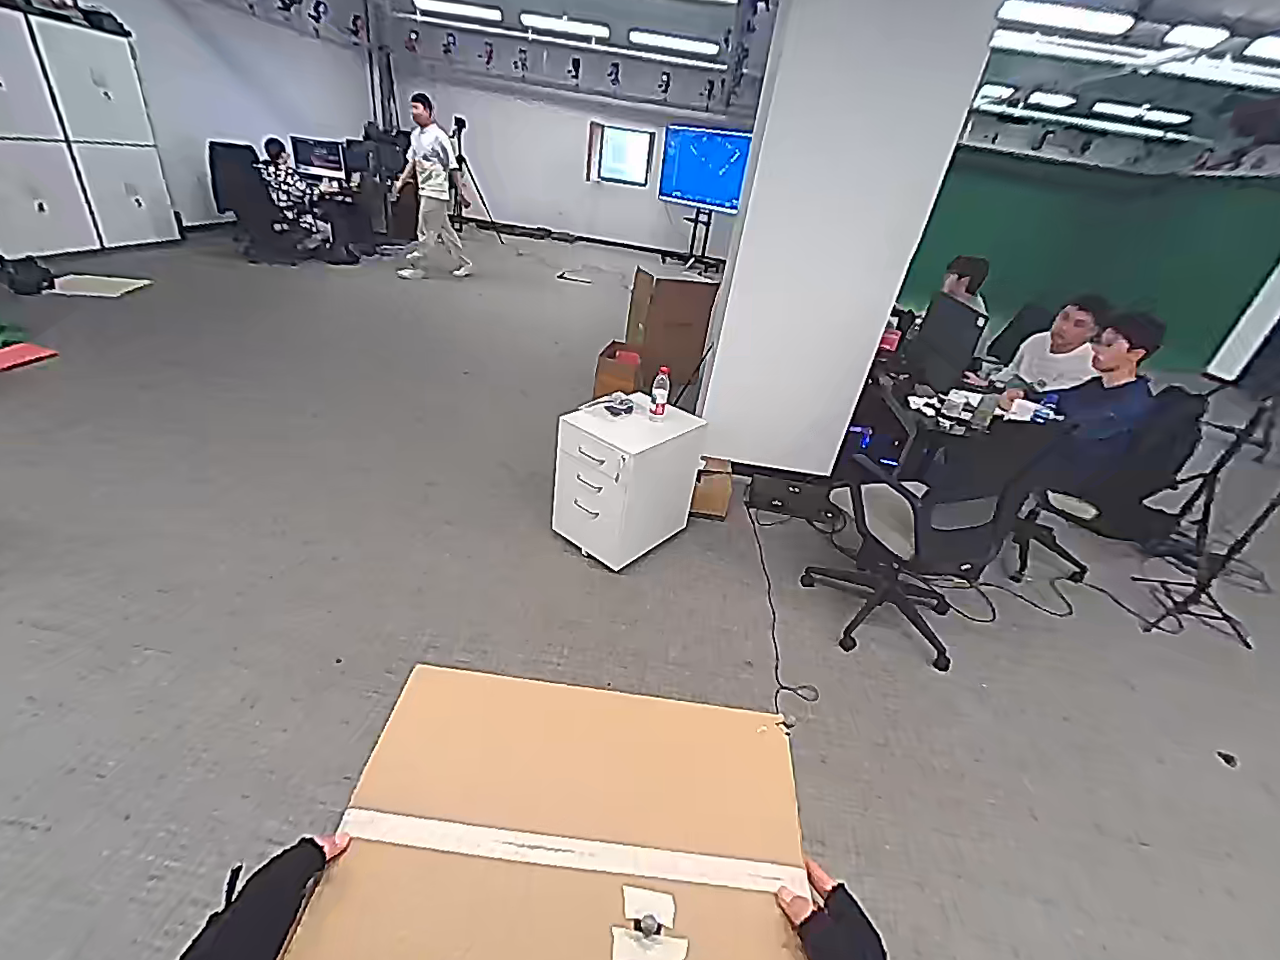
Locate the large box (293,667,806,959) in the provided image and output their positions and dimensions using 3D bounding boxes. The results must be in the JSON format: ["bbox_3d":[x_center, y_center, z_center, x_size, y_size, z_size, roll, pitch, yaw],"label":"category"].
[{"bbox_3d":[-0.075,0.442,0.574,0.408,0.320,0.320,9,38,0],"label":"large box"}]
